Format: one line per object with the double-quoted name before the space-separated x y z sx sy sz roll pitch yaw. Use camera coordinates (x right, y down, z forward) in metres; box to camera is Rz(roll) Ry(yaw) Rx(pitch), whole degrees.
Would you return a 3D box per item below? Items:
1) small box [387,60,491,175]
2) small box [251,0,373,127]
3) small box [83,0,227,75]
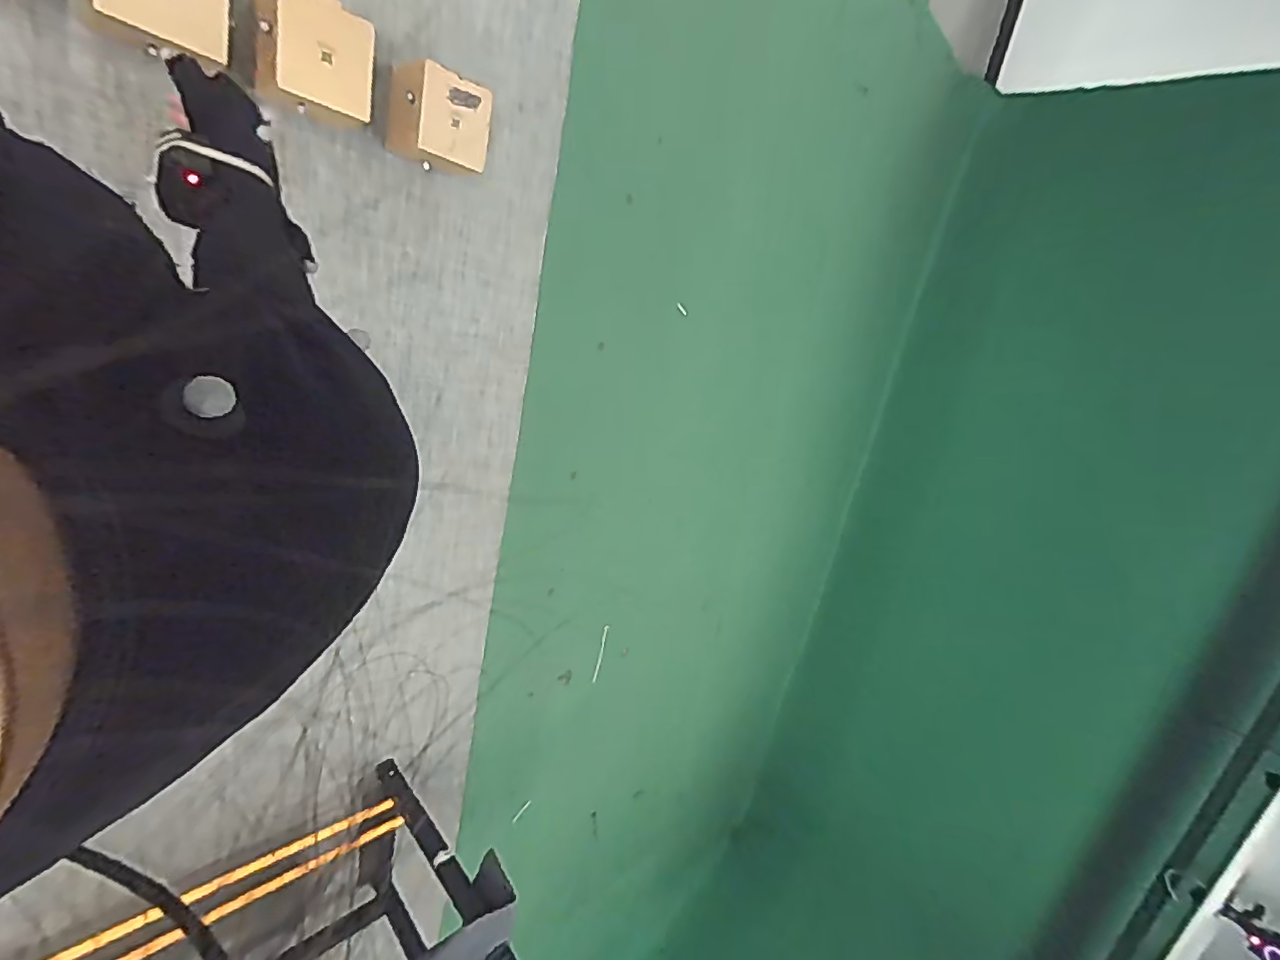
"small box" -0.476 -0.839 1.269 0.168 0.176 0.179 -6 114 -47
"small box" -0.653 -0.829 1.074 0.168 0.176 0.179 -7 114 -47
"small box" -0.808 -0.816 0.901 0.168 0.176 0.179 -4 112 -48
